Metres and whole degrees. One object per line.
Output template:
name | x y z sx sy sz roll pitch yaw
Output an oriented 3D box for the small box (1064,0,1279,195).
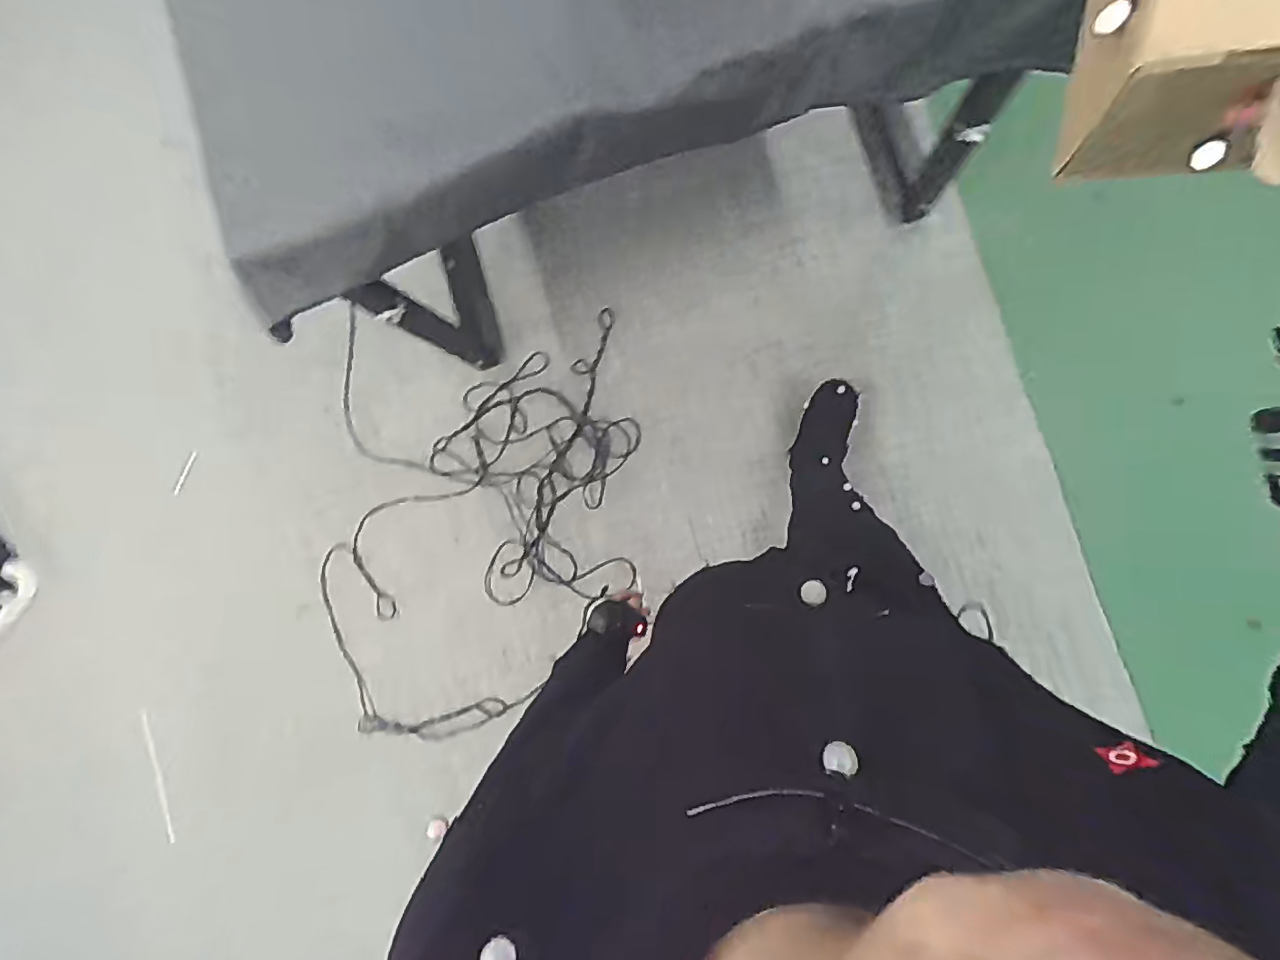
small box | 0.355 -0.273 0.283 0.168 0.176 0.179 9 103 24
